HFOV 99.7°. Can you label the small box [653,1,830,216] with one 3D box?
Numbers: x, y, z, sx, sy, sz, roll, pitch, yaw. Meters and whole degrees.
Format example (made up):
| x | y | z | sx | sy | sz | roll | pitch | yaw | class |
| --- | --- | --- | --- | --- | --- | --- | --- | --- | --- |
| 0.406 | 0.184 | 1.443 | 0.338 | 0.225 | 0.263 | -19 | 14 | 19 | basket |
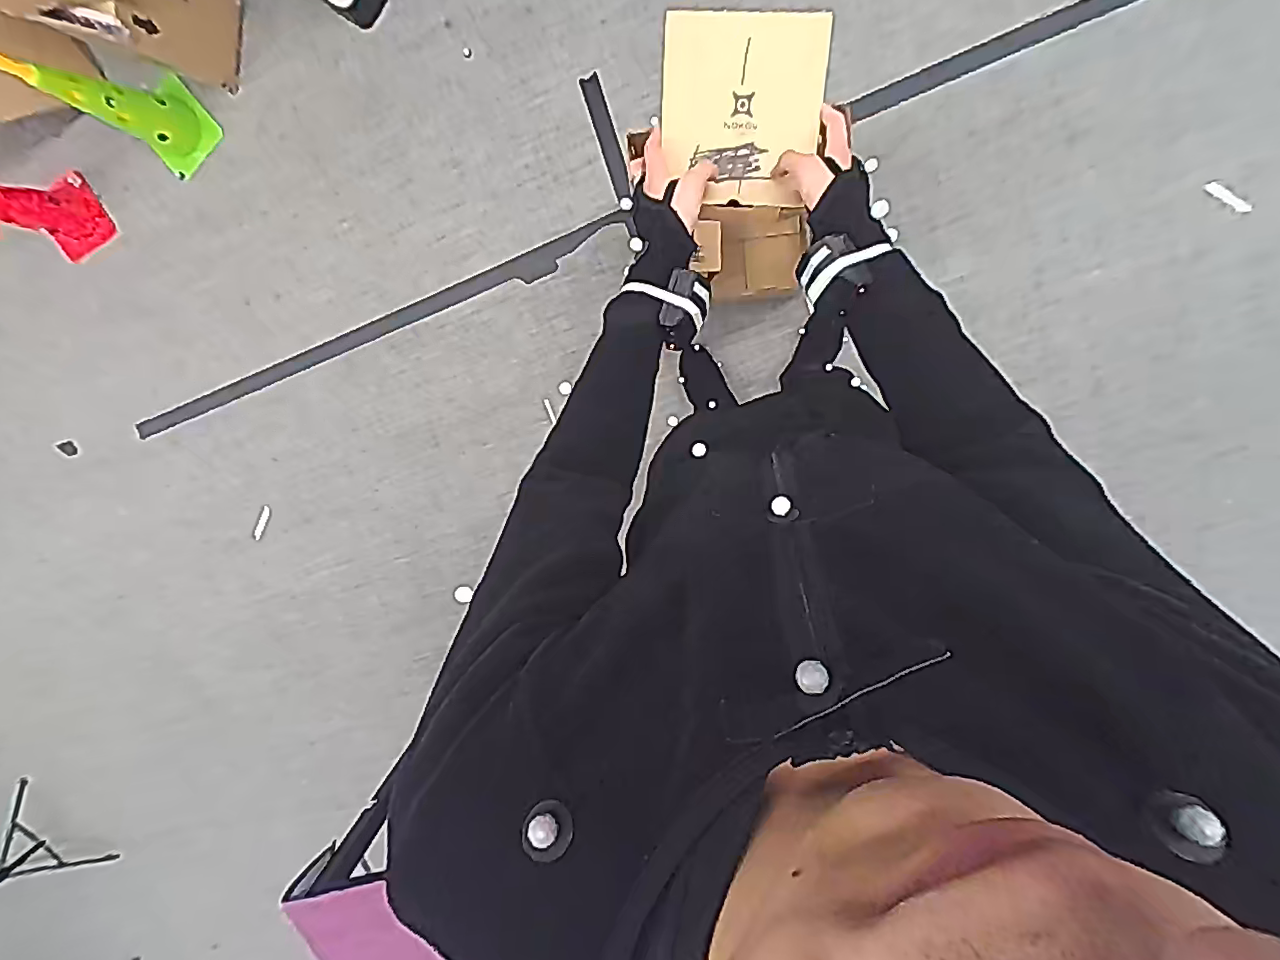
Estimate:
| x | y | z | sx | sy | sz | roll | pitch | yaw | class |
| --- | --- | --- | --- | --- | --- | --- | --- | --- | --- |
| 0.105 | -0.411 | 0.629 | 0.168 | 0.176 | 0.179 | 3 | 111 | 2 | small box |
